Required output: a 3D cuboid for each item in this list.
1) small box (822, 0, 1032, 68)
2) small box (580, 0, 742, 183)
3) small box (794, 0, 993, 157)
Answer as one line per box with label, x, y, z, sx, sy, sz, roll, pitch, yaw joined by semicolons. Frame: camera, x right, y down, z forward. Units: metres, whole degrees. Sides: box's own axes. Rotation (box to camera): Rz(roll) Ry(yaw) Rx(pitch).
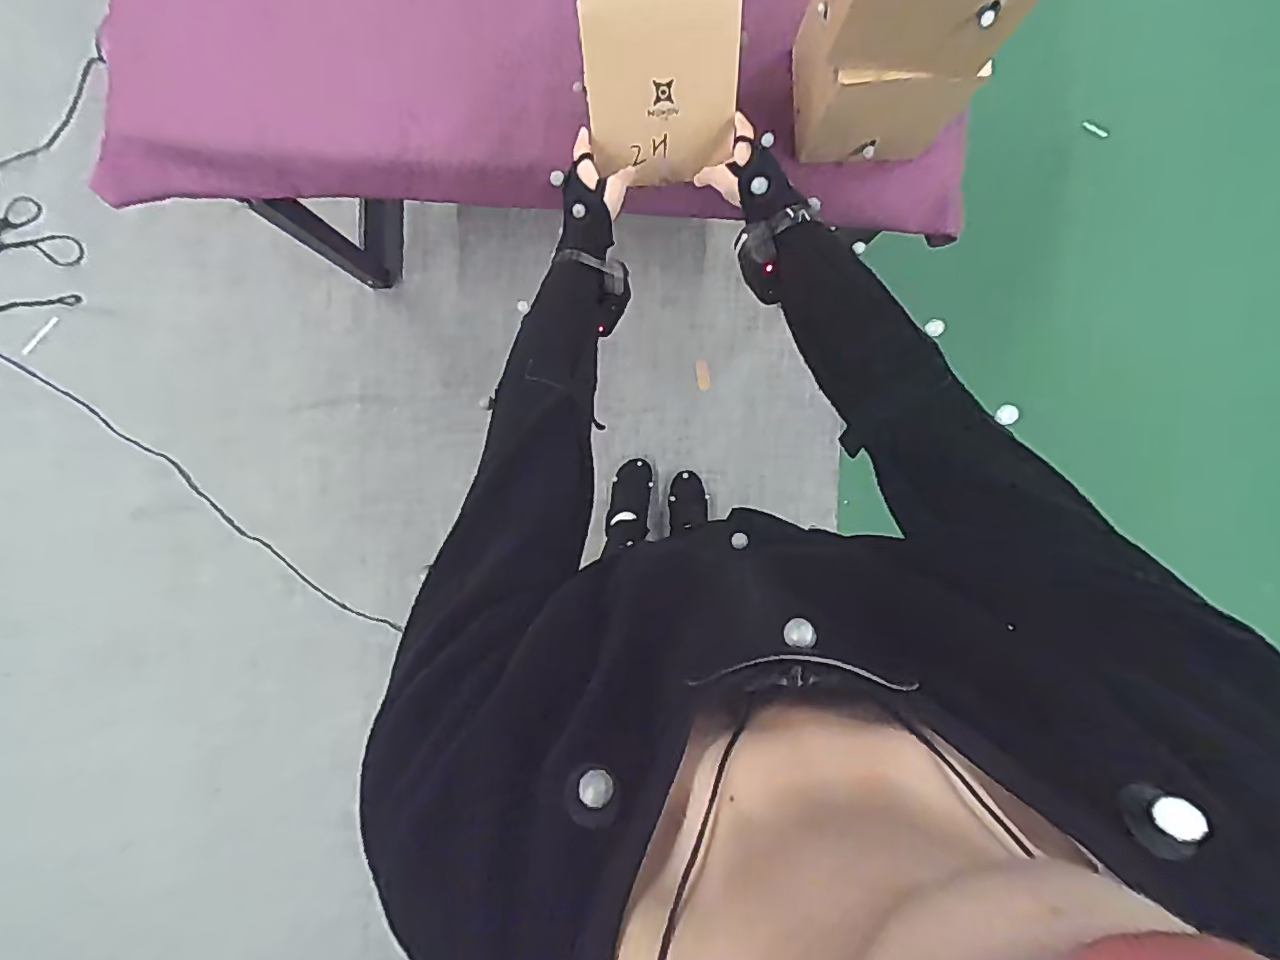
small box;0.293;-0.535;0.515;0.179;0.176;0.168;4;92;1
small box;0.019;-0.481;0.644;0.168;0.176;0.179;-5;137;0
small box;0.305;-0.533;0.679;0.179;0.176;0.168;-2;92;0
